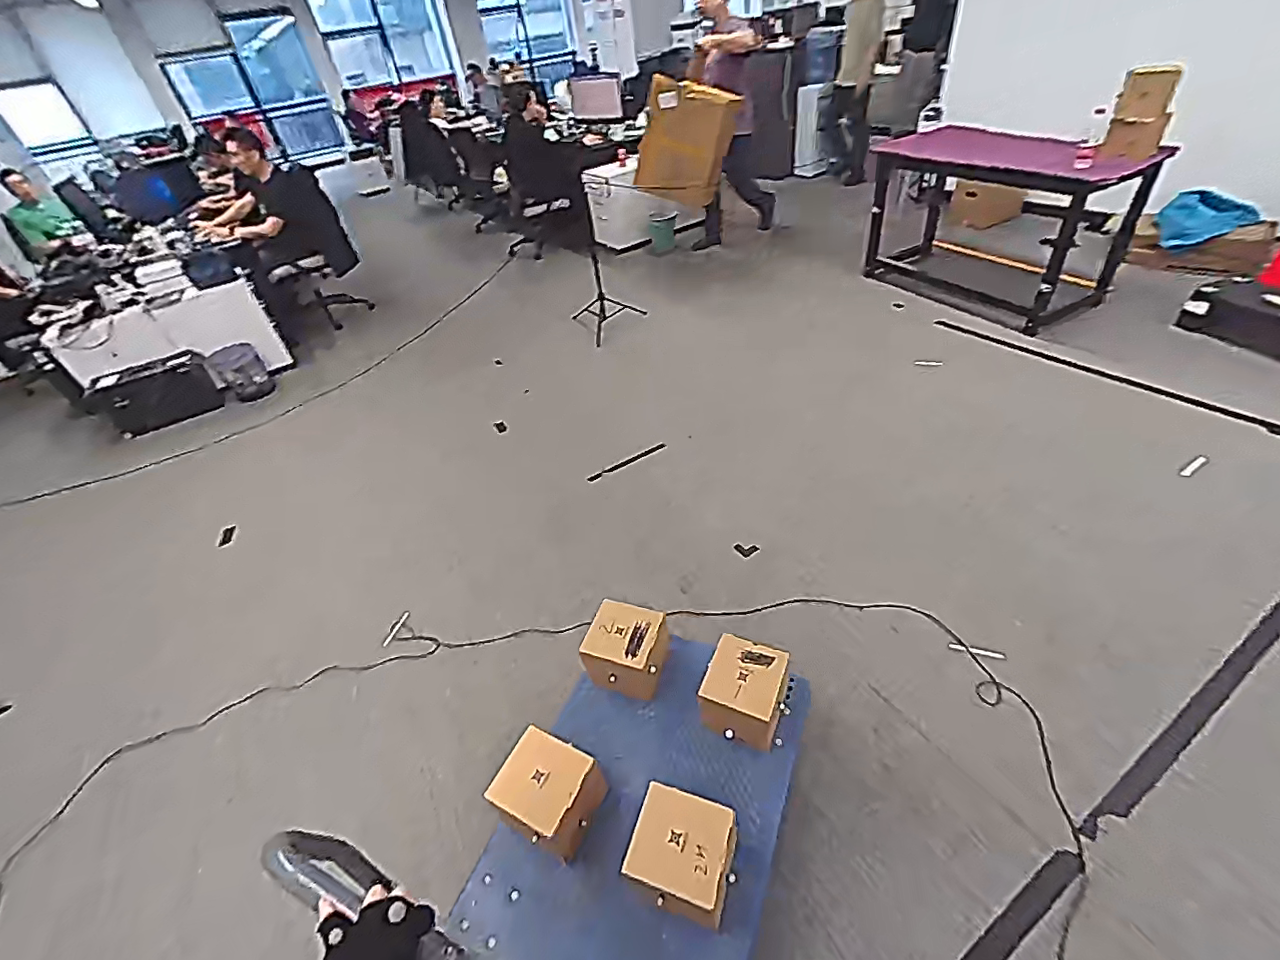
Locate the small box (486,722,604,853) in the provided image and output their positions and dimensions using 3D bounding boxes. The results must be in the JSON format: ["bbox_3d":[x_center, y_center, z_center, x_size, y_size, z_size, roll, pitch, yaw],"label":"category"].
[{"bbox_3d":[-0.198,0.672,1.177,0.179,0.176,0.168,15,46,24],"label":"small box"}]

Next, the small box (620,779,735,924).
[{"bbox_3d":[0.082,0.727,1.058,0.179,0.176,0.168,9,44,21],"label":"small box"}]

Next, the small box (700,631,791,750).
[{"bbox_3d":[0.252,0.501,1.288,0.168,0.176,0.179,13,47,25],"label":"small box"}]
